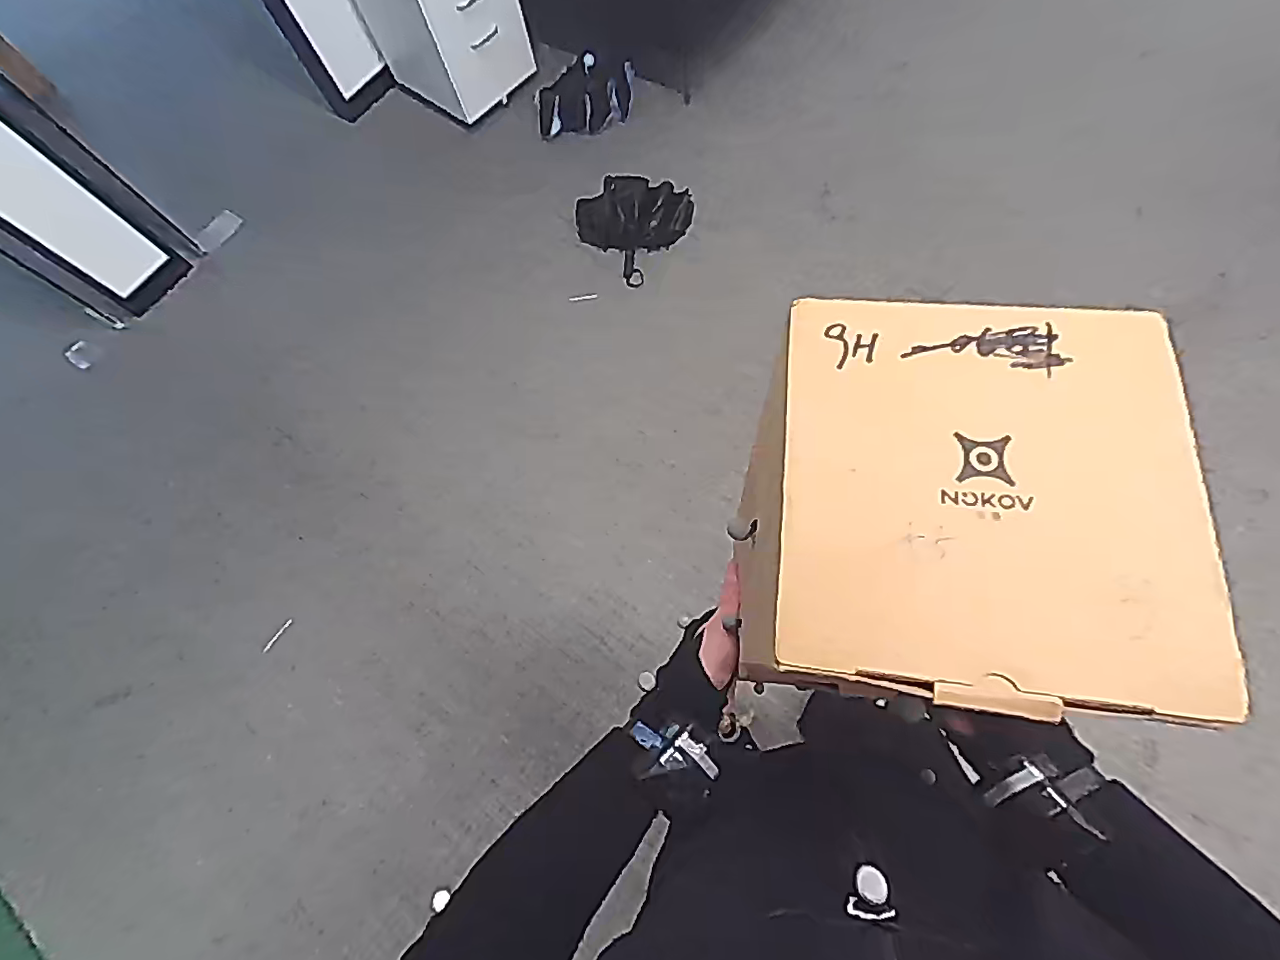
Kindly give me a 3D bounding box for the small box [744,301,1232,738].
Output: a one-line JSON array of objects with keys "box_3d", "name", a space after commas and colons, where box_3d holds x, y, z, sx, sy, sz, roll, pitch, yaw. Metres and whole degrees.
[{"box_3d": [0.149, 0.025, 0.302, 0.168, 0.176, 0.179, 5, 73, 8], "name": "small box"}]
